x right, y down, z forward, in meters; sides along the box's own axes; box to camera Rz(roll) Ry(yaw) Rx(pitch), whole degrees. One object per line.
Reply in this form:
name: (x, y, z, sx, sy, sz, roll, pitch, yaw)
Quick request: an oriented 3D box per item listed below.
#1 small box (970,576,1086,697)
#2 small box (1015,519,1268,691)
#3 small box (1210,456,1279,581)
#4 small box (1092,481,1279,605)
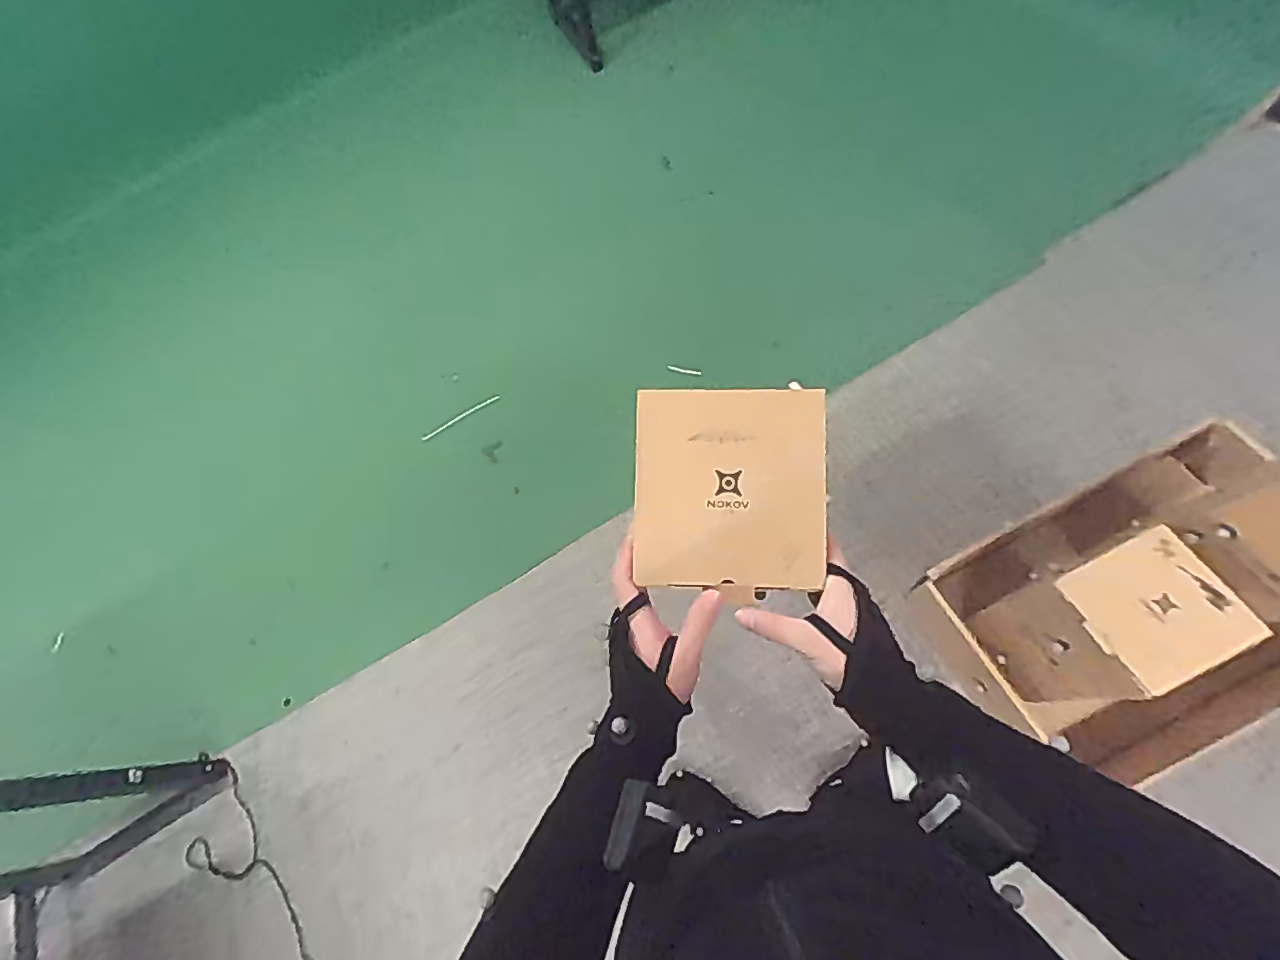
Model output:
small box: (0.709, 0.250, 0.914, 0.179, 0.176, 0.168, -27, 64, -1)
small box: (0.678, 0.186, 0.767, 0.179, 0.176, 0.168, -28, 65, 0)
small box: (0.838, 0.029, 0.623, 0.179, 0.176, 0.168, -32, 65, 0)
small box: (0.934, 0.133, 0.921, 0.179, 0.176, 0.168, -31, 65, 2)
